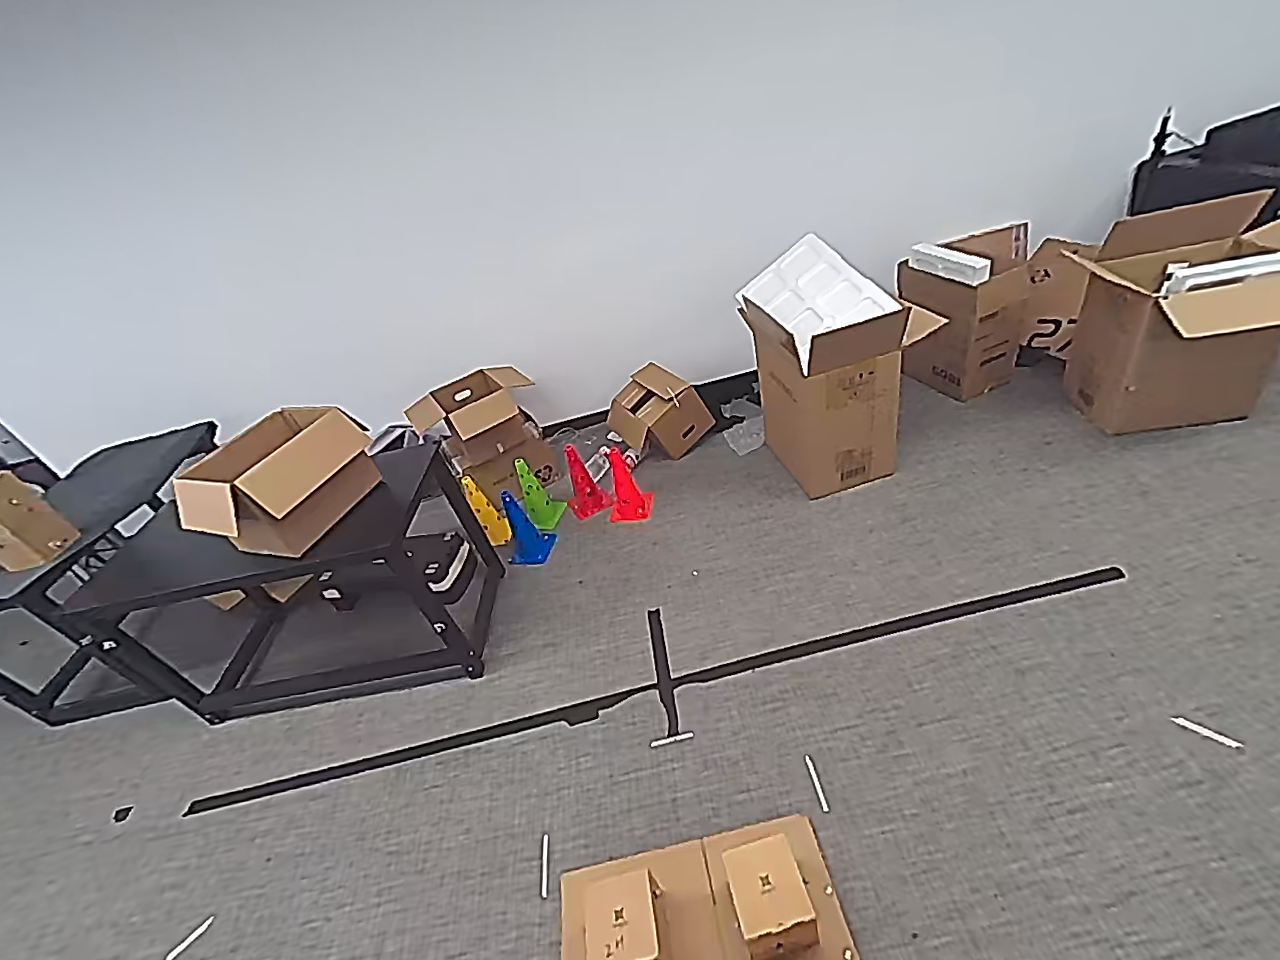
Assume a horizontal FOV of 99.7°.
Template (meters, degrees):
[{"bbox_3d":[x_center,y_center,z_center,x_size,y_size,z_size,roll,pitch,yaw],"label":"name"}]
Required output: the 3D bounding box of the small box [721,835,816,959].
[{"bbox_3d":[0.303,0.989,1.278,0.168,0.176,0.179,-17,36,-2],"label":"small box"}]

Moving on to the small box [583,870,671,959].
[{"bbox_3d":[-0.030,1.073,1.284,0.168,0.176,0.179,-16,36,1],"label":"small box"}]
